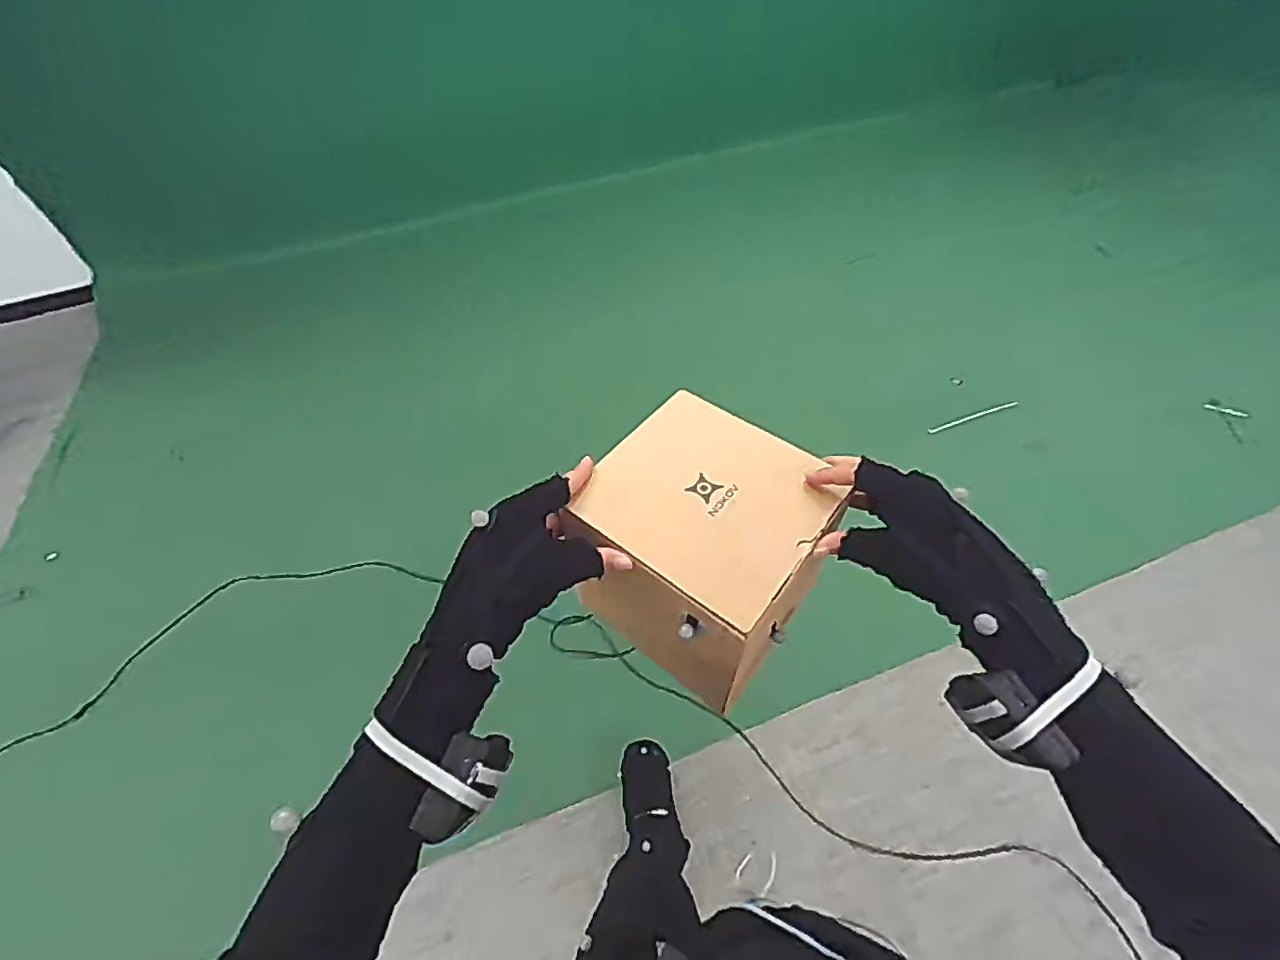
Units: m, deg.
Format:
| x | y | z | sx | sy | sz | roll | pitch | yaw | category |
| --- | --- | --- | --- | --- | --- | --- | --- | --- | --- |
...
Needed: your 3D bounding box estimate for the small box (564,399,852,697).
| x | y | z | sx | sy | sz | roll | pitch | yaw | category |
| --- | --- | --- | --- | --- | --- | --- | --- | --- | --- |
| 0.054 | 0.064 | 0.493 | 0.179 | 0.176 | 0.168 | 33 | 58 | 23 | small box |
